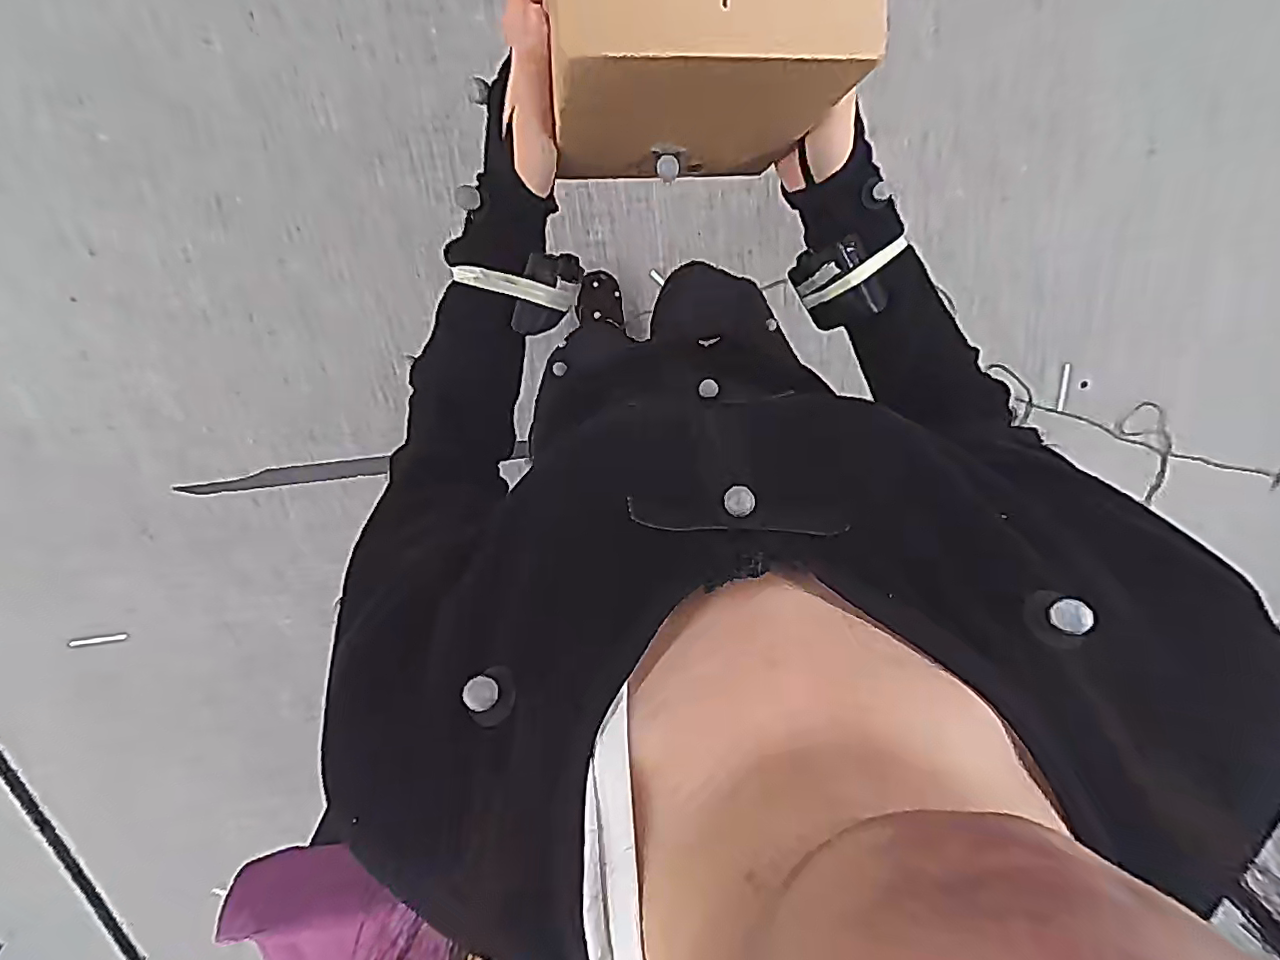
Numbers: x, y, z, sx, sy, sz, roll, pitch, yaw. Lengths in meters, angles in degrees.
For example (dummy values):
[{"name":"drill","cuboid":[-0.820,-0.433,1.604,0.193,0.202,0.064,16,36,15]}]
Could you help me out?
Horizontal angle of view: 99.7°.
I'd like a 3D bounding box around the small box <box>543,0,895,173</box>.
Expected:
[{"name":"small box","cuboid":[0.027,-0.307,0.320,0.168,0.176,0.179,-6,103,-9]}]
